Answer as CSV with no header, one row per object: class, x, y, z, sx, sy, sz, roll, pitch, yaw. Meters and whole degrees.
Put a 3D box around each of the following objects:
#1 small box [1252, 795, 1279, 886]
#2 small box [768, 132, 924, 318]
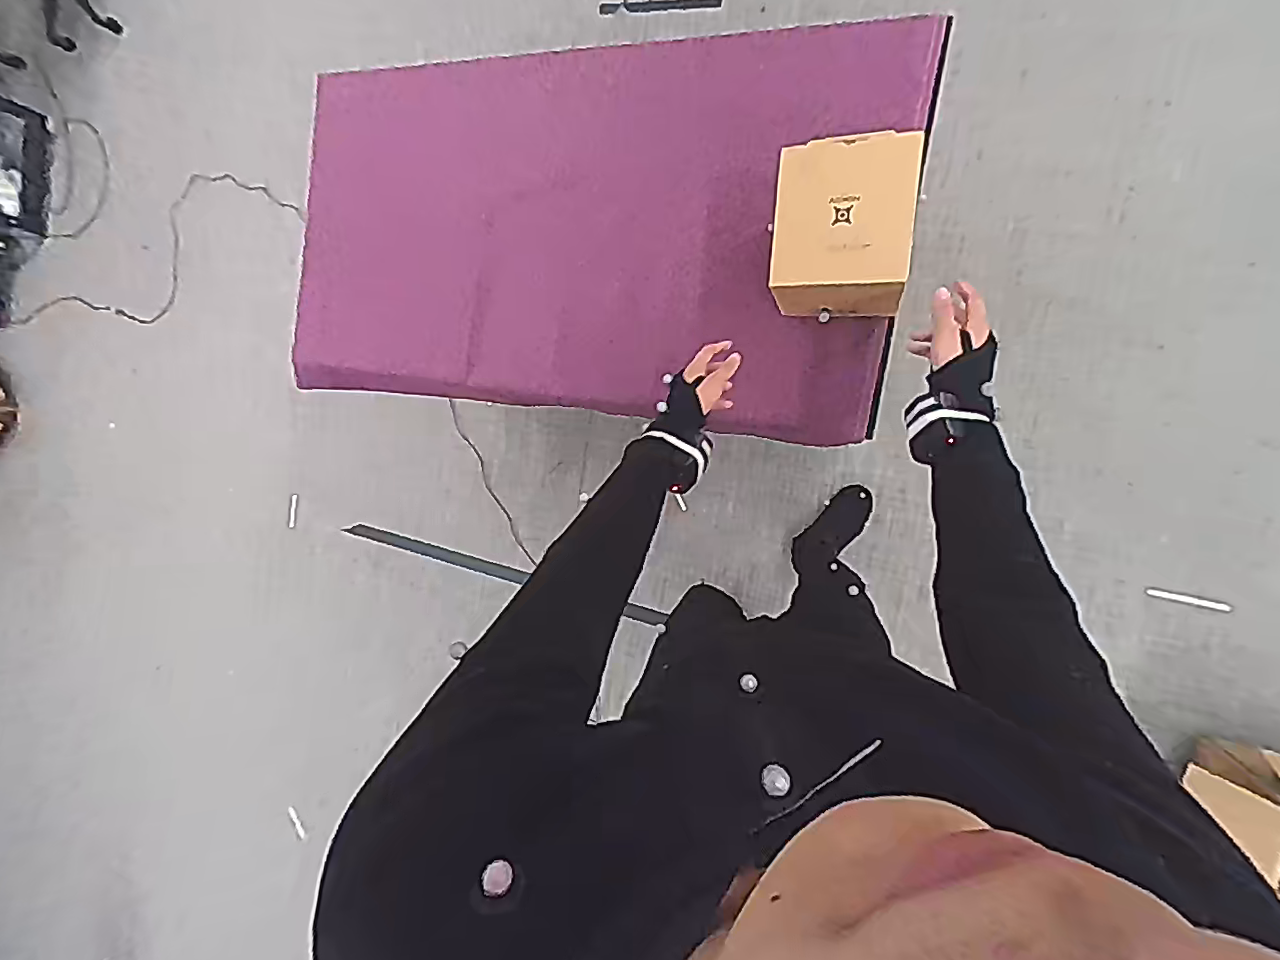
small box,1.308,0.716,0.996,0.179,0.176,0.168,10,96,20
small box,0.276,-0.333,0.738,0.168,0.176,0.179,7,94,21
